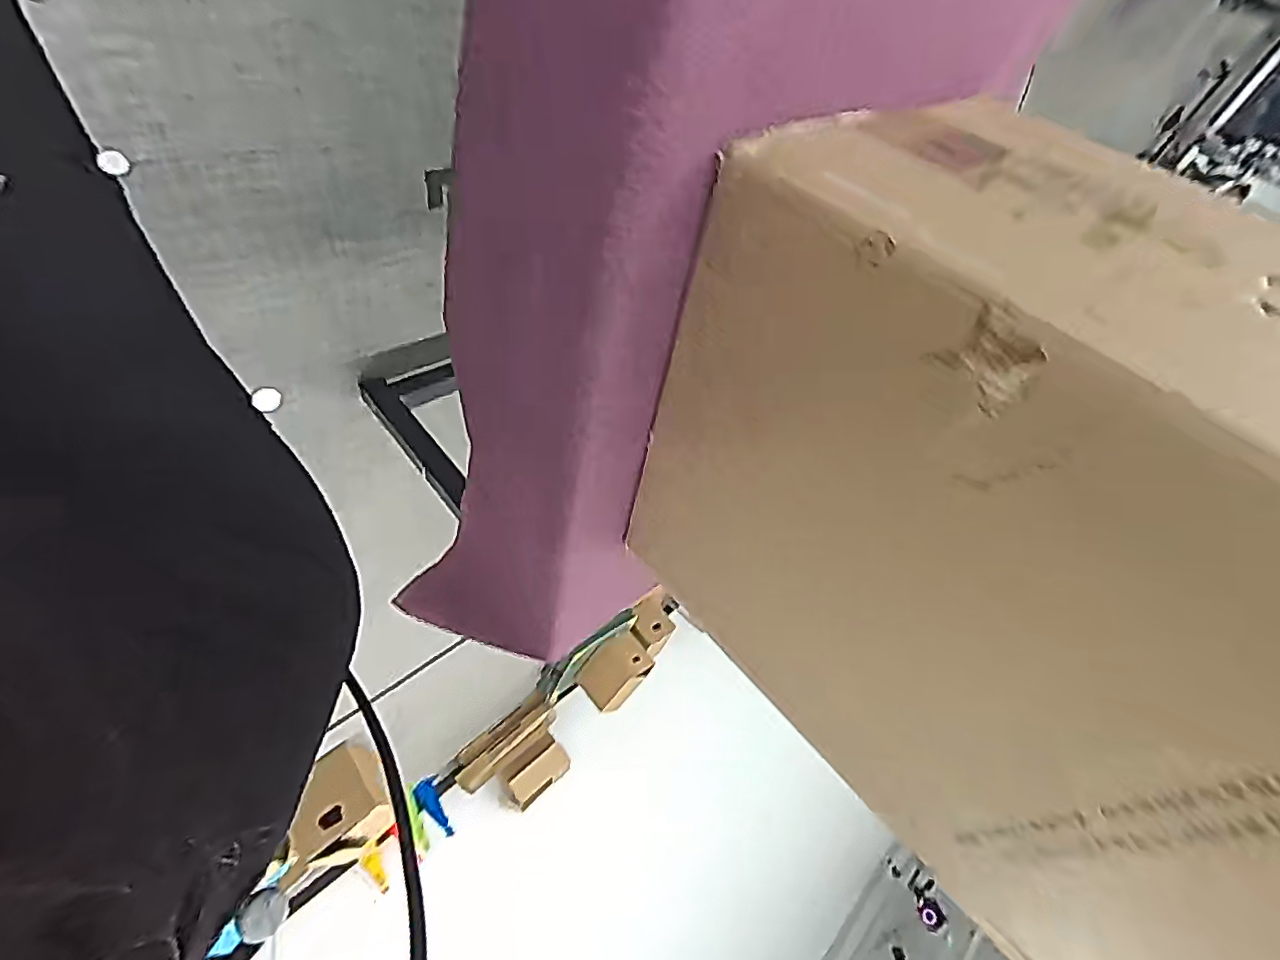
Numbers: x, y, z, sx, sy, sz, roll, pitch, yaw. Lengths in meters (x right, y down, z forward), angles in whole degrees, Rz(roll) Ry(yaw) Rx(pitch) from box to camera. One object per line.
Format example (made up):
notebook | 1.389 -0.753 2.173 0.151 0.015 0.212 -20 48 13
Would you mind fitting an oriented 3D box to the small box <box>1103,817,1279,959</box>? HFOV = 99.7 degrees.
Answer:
small box | 0.517 0.415 0.425 0.179 0.176 0.168 -30 154 -35
